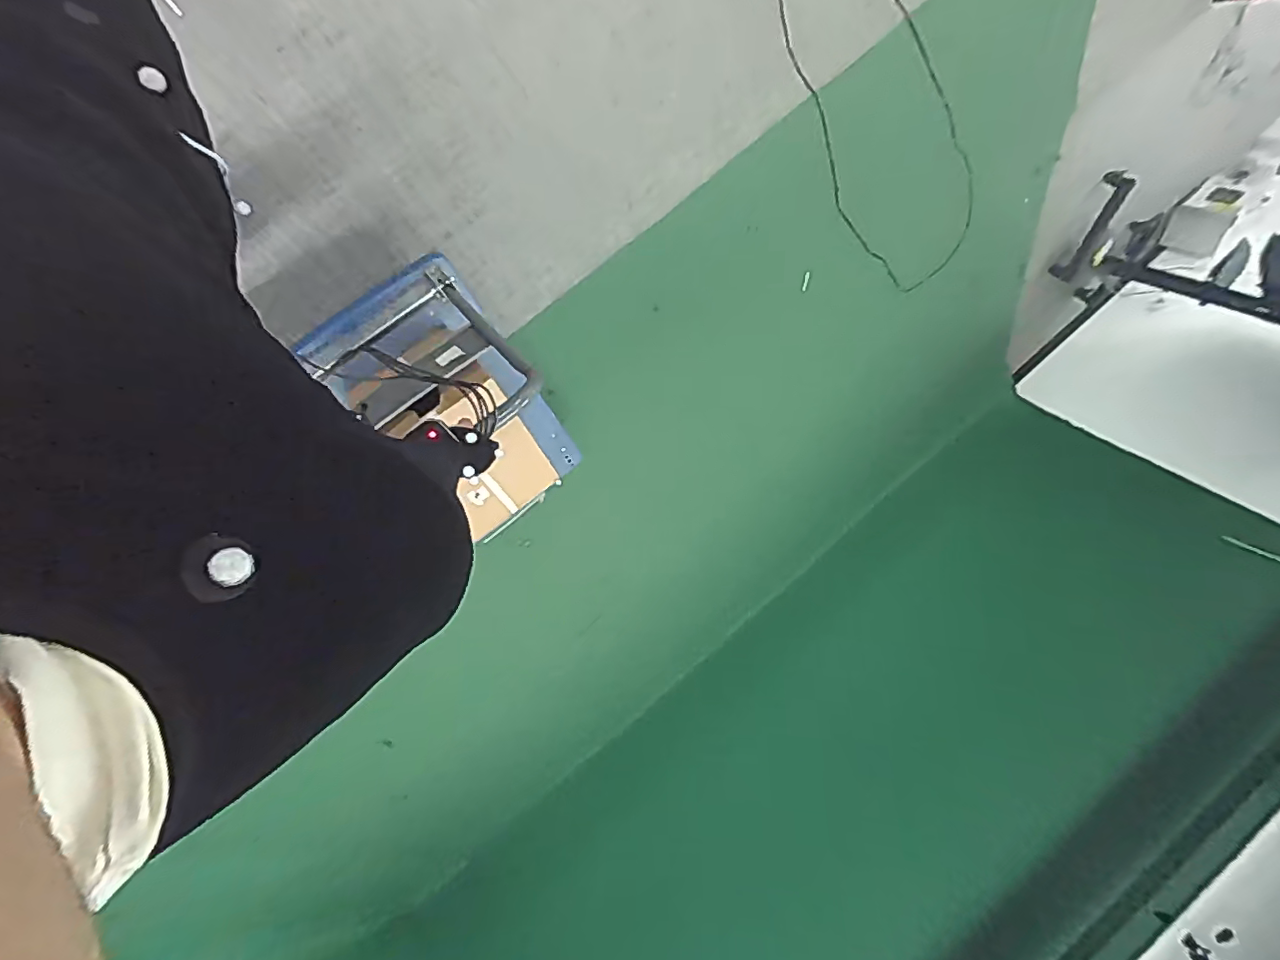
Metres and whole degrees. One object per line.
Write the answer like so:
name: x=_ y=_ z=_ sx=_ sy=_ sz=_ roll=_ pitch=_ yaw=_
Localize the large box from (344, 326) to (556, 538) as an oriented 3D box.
large box: x=-0.495 y=-0.125 z=1.446 sx=0.320 sy=0.320 sz=0.408 roll=-37 pitch=142 yaw=-9
